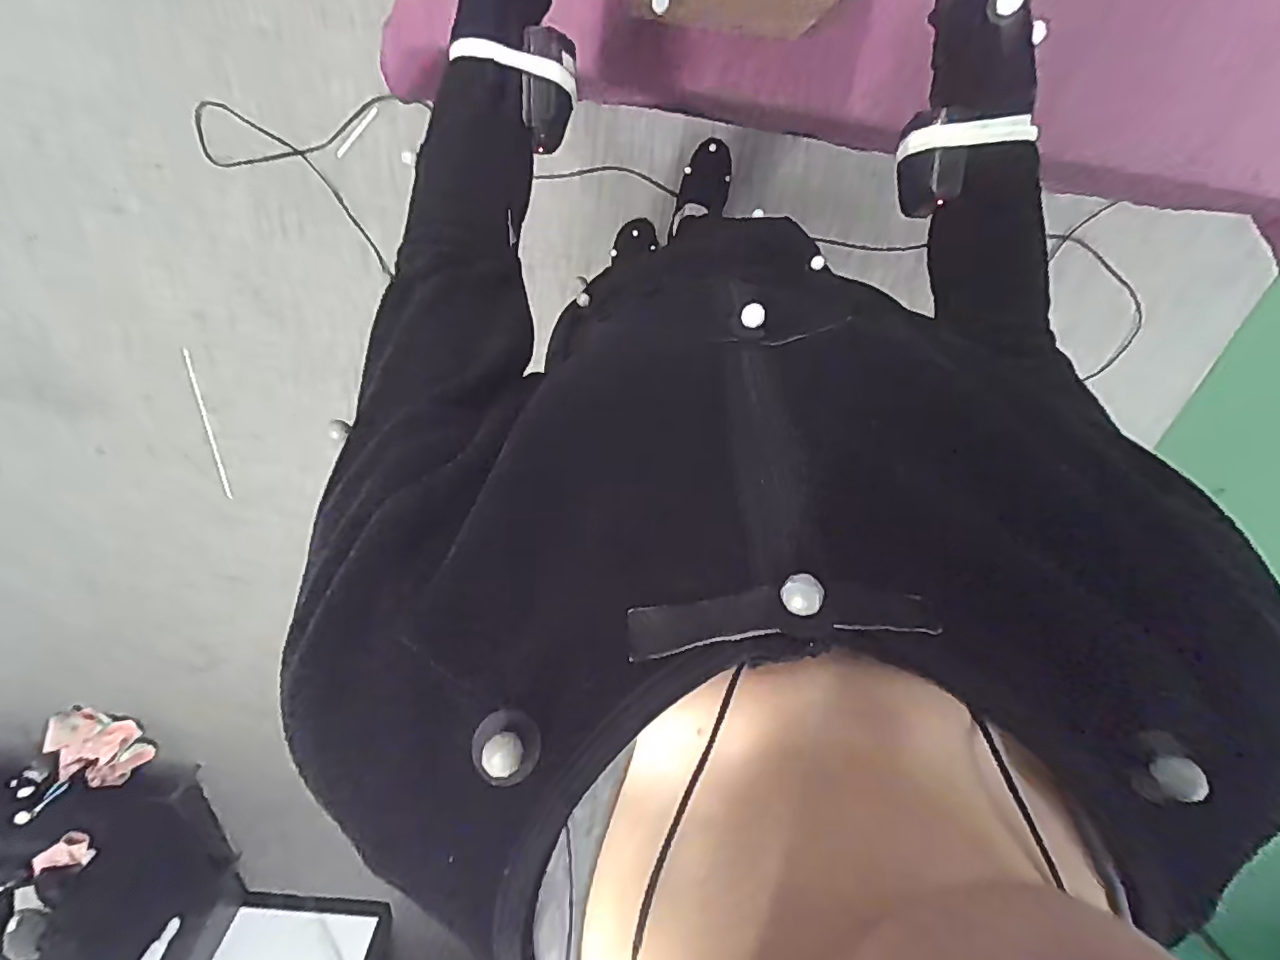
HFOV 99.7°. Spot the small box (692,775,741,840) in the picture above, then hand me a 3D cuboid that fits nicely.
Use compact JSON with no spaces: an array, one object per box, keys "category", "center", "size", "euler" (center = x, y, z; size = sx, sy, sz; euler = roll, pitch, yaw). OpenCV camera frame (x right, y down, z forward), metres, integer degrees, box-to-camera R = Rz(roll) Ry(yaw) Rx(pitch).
[{"category":"small box","center":[0.323,1.403,2.315],"size":[0.168,0.176,0.179],"euler":[9,120,-5]}]
